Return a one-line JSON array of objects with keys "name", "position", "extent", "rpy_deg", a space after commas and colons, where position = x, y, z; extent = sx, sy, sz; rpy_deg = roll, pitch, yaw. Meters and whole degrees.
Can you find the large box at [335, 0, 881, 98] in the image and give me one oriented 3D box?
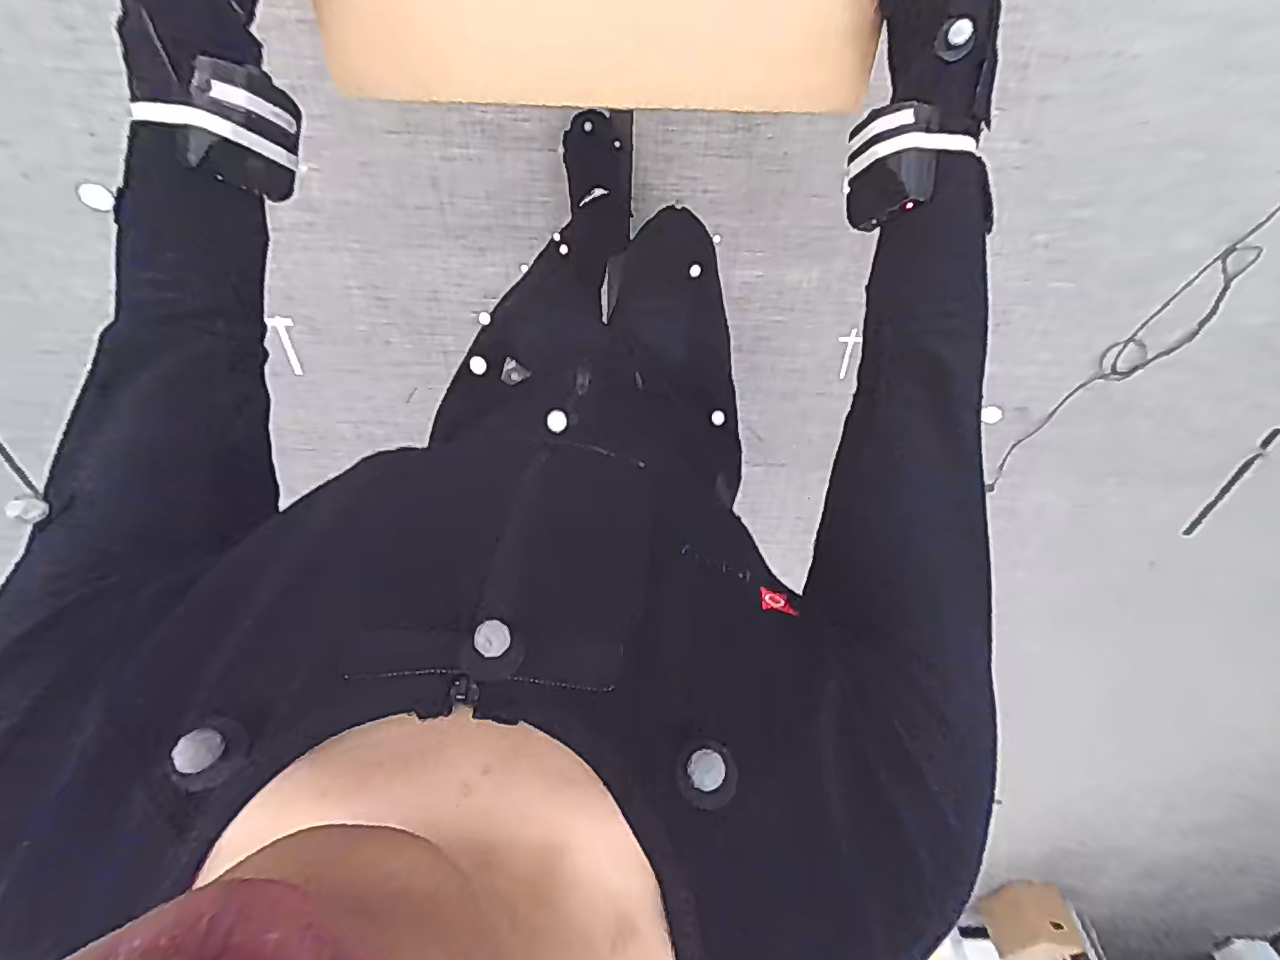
[{"name": "large box", "position": [-0.024, -0.517, 0.445], "extent": [0.408, 0.320, 0.320], "rpy_deg": [1, 130, -1]}]
